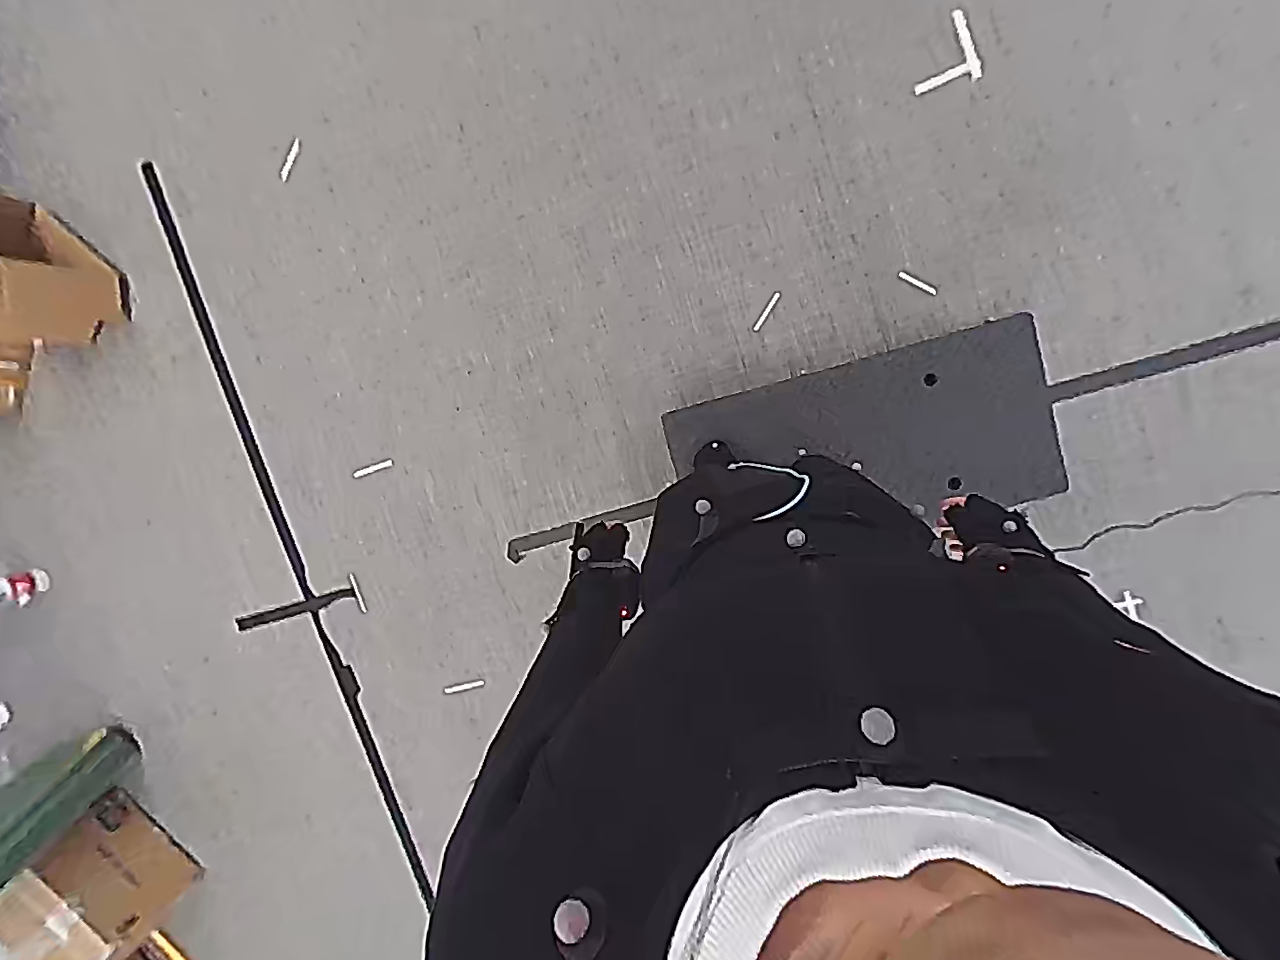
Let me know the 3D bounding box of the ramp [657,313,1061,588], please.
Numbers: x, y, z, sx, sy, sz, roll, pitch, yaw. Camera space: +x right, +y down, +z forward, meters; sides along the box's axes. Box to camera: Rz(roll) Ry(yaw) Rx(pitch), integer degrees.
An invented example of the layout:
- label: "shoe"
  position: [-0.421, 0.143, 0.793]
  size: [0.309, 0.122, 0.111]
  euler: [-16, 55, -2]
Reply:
- label: "ramp"
  position: [0.584, -0.076, 1.443]
  size: [0.991, 0.206, 0.509]
  euler: [-17, 93, 11]
